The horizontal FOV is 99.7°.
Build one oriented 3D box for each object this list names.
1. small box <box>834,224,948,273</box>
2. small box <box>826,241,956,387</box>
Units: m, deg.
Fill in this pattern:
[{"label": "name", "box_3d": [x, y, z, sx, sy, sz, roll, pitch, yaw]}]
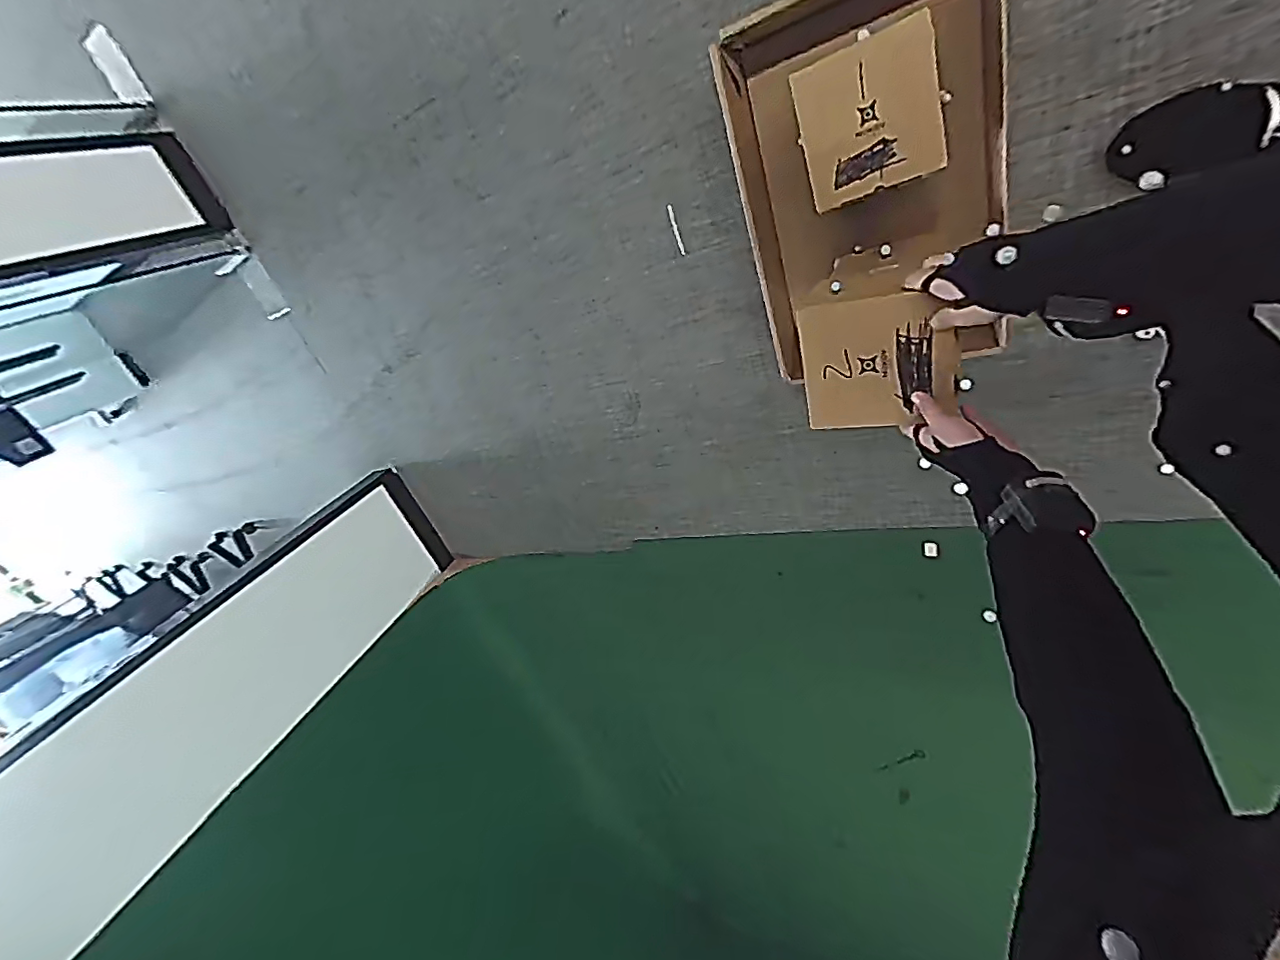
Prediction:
[{"label": "small box", "box_3d": [0.471, -0.359, 1.006, 0.179, 0.176, 0.168, -4, 120, 30]}, {"label": "small box", "box_3d": [0.410, -0.273, 0.879, 0.168, 0.176, 0.179, -6, 118, 31]}]
